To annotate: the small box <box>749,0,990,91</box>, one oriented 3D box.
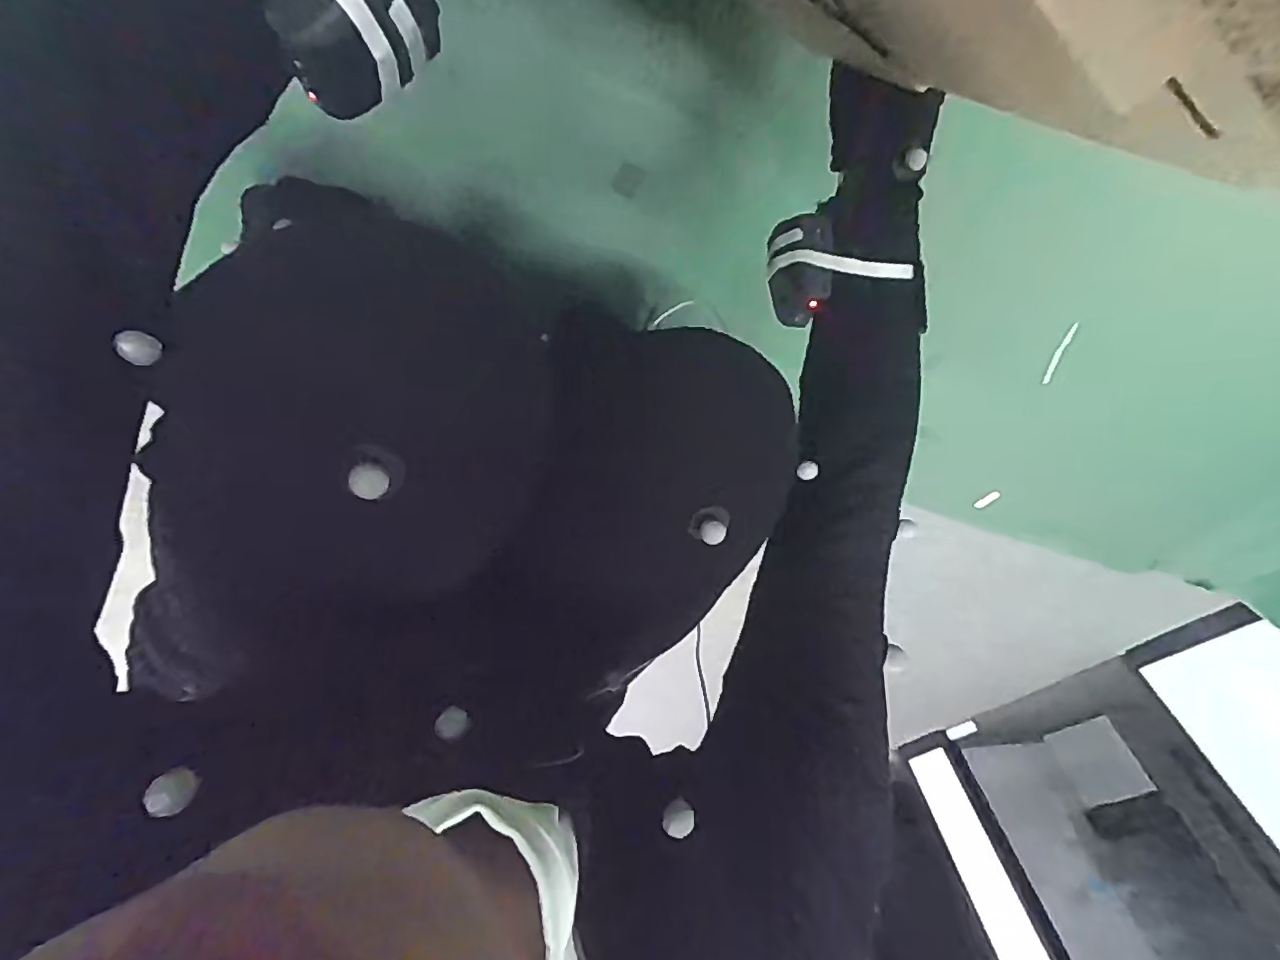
[{"bbox_3d":[0.104,-0.333,0.251,0.168,0.176,0.179,16,128,-28],"label":"small box"}]
